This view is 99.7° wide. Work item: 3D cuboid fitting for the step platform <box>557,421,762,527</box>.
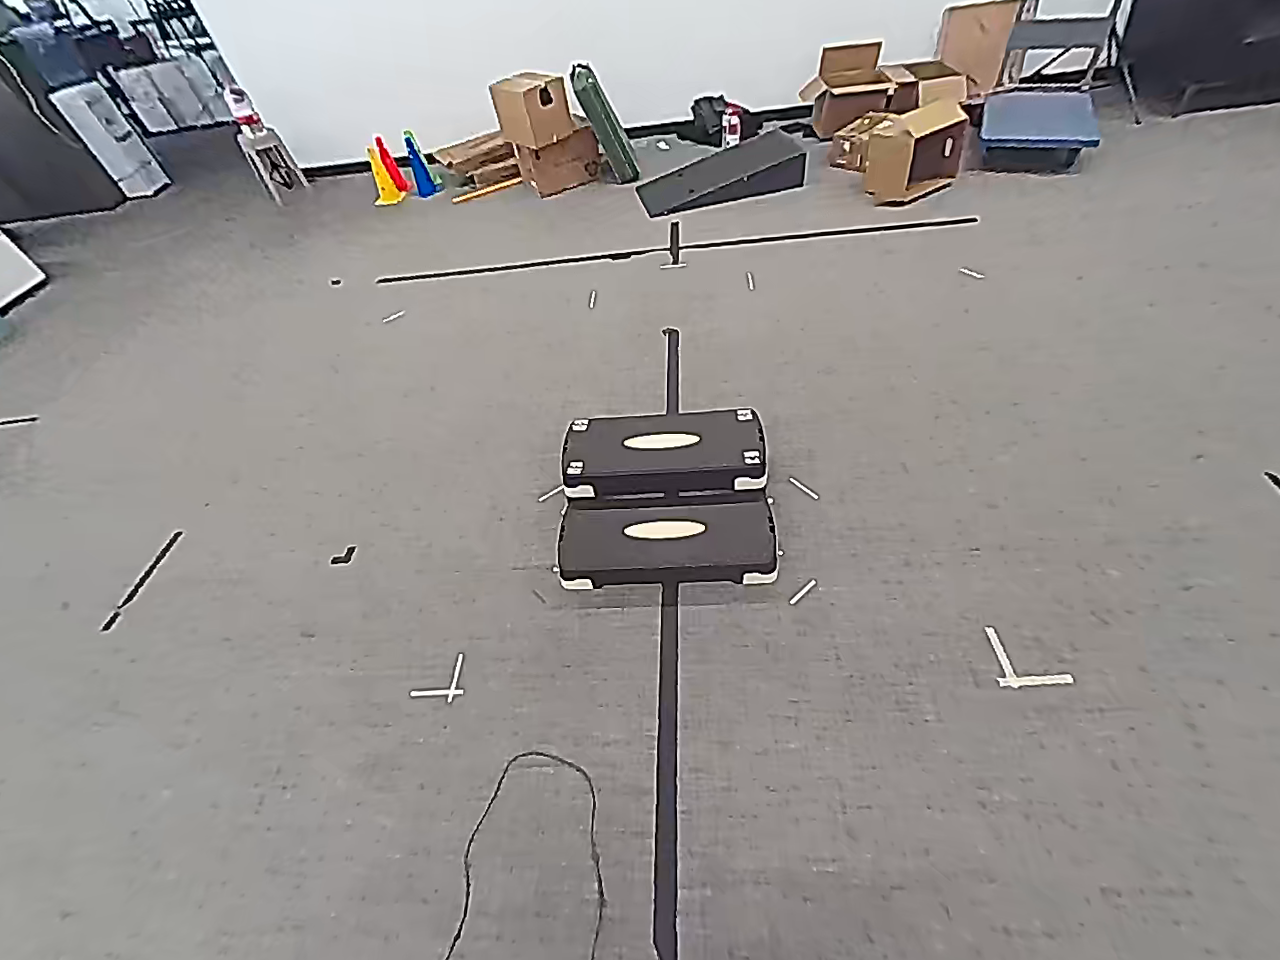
[{"bbox_3d":[0.064,-0.024,1.836,0.684,0.204,0.286,-3,49,5],"label":"step platform"}]
